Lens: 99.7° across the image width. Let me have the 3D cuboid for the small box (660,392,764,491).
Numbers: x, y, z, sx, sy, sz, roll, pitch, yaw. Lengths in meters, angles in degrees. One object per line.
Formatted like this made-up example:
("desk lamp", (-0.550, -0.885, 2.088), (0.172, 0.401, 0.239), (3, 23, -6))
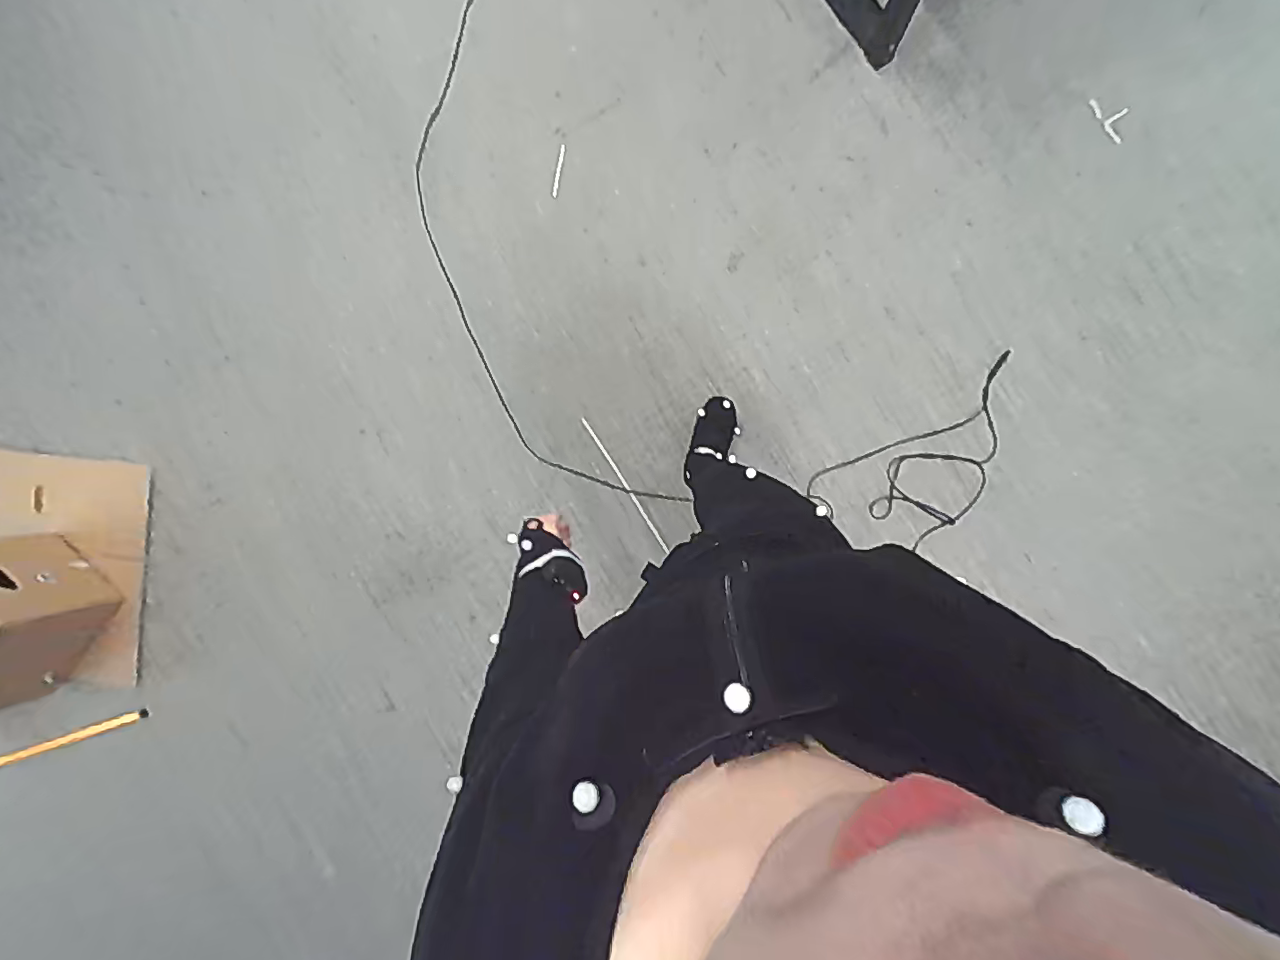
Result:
("small box", (0.177, -0.096, 1.387), (0.179, 0.176, 0.168), (-17, 64, -26))
